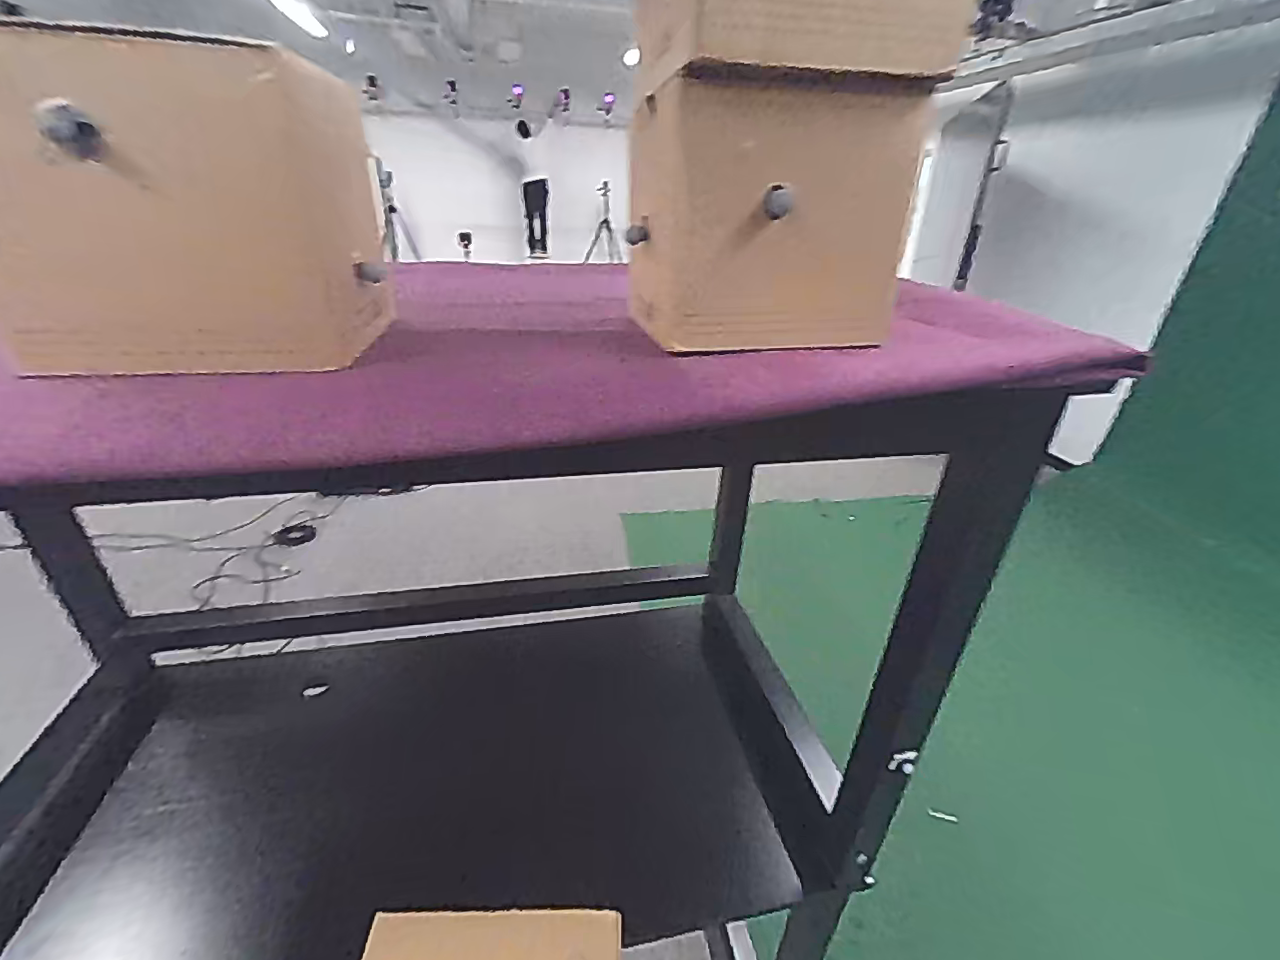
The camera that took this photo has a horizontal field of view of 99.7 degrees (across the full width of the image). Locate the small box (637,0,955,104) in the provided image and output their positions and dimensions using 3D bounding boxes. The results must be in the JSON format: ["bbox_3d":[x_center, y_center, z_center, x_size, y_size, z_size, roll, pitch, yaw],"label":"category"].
[{"bbox_3d":[0.094,-0.344,0.356,0.179,0.176,0.168,-4,26,-11],"label":"small box"}]

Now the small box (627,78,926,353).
[{"bbox_3d":[0.089,-0.203,0.439,0.179,0.176,0.168,-5,27,-10],"label":"small box"}]

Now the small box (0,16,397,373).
[{"bbox_3d":[-0.280,-0.173,0.357,0.179,0.176,0.168,-3,29,-11],"label":"small box"}]
